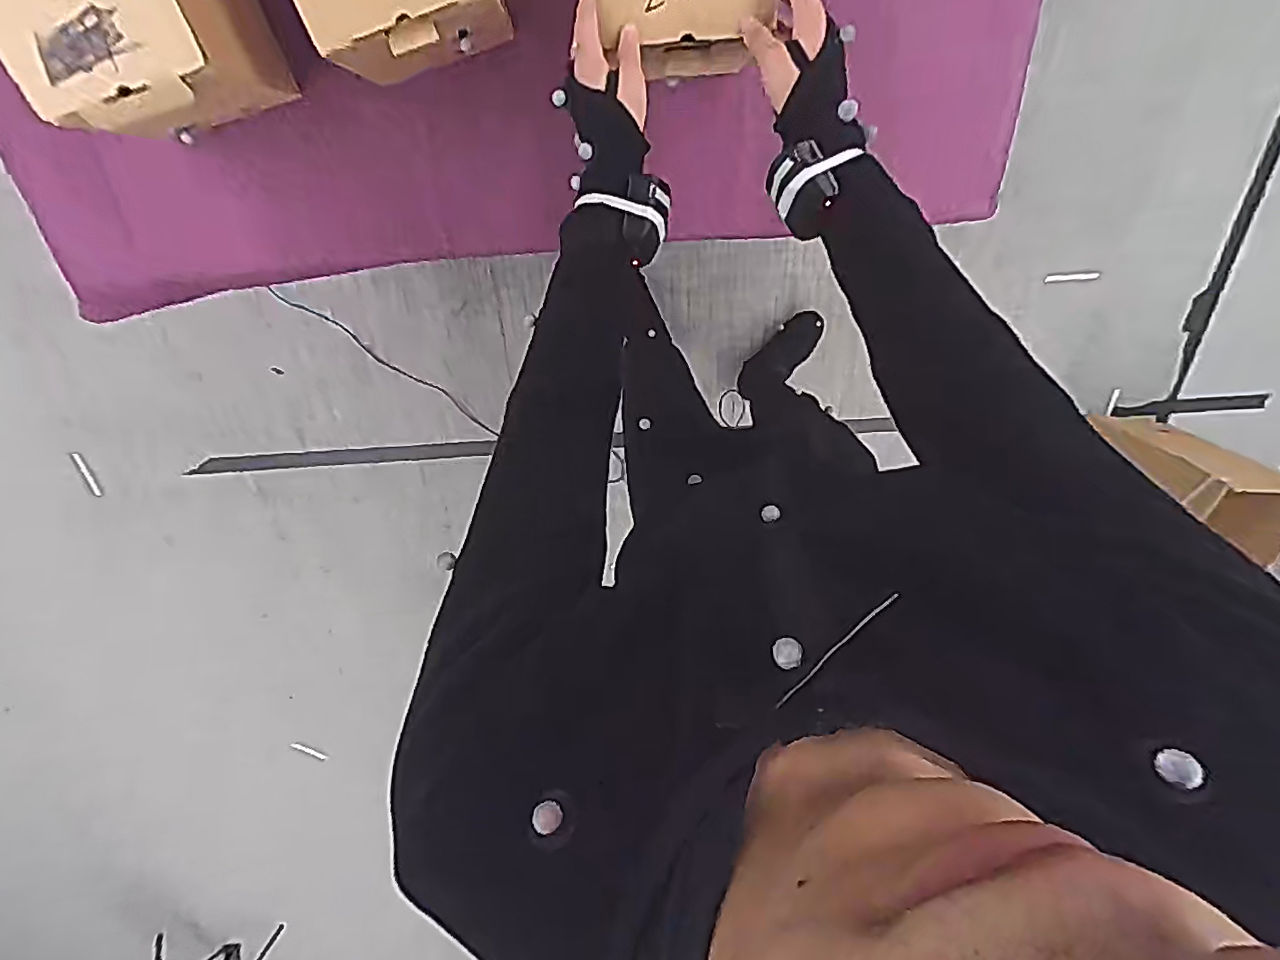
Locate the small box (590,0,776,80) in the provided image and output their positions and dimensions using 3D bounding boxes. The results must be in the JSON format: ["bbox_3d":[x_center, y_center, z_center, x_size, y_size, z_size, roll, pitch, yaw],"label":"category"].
[{"bbox_3d":[0.031,-0.516,0.524,0.168,0.176,0.179,-6,118,-1],"label":"small box"}]

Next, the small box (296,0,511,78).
[{"bbox_3d":[-0.235,-0.508,0.508,0.168,0.176,0.179,-17,118,4],"label":"small box"}]

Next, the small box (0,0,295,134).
[{"bbox_3d":[-0.480,-0.451,0.516,0.168,0.176,0.179,-16,117,3],"label":"small box"}]
